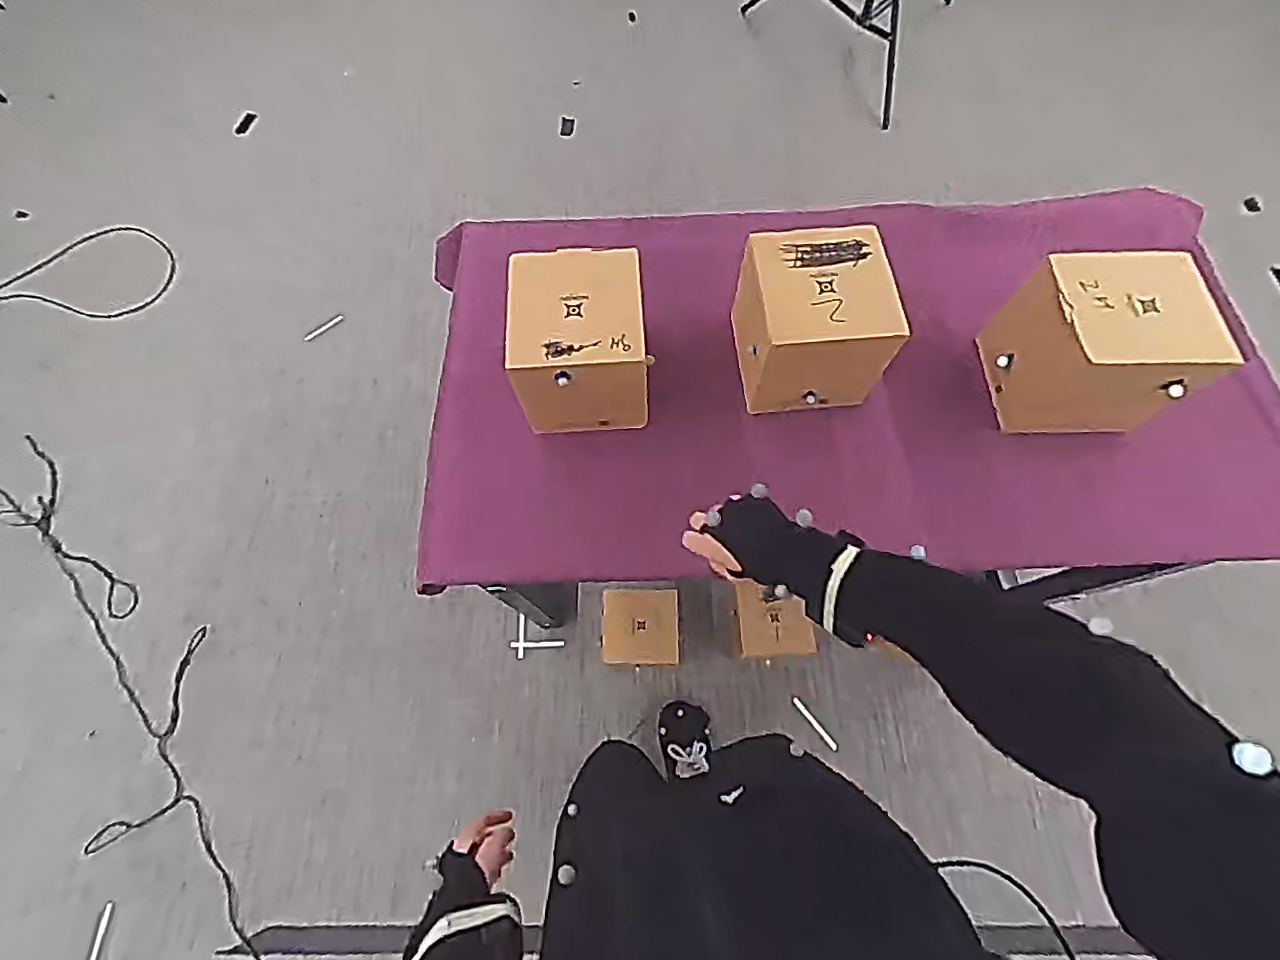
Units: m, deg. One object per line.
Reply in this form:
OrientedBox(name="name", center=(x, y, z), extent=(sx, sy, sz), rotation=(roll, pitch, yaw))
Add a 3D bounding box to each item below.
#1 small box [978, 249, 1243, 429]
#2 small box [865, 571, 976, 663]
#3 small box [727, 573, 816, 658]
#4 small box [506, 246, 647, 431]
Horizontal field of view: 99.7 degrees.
OrientedBox(name="small box", center=(0.590, -0.176, 0.708), extent=(0.179, 0.176, 0.168), rotation=(0, 67, 2))
OrientedBox(name="small box", center=(0.662, 0.332, 1.287), extent=(0.179, 0.176, 0.168), rotation=(14, 69, 8))
OrientedBox(name="small box", center=(0.306, 0.329, 1.297), extent=(0.168, 0.176, 0.179), rotation=(-3, 68, 1))
OrientedBox(name="small box", center=(-0.078, -0.184, 0.731), extent=(0.168, 0.176, 0.179), rotation=(-4, 67, 0))
